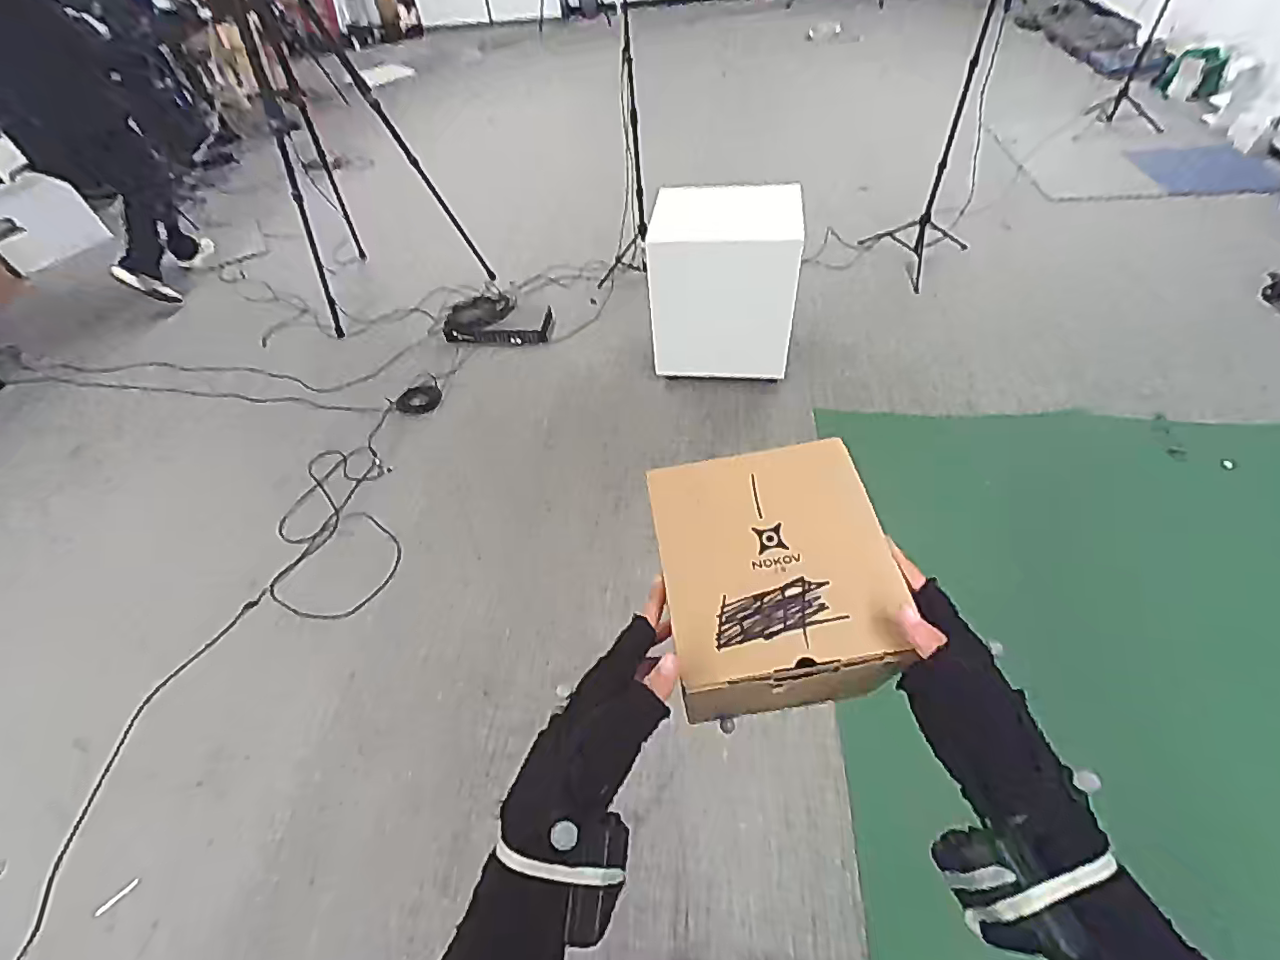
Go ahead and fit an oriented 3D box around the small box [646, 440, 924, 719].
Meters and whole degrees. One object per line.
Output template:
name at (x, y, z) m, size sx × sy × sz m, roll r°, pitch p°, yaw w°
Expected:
small box at (0.104, 0.095, 0.461) m, size 0.168 × 0.176 × 0.179 m, roll -10°, pitch 56°, yaw 1°
